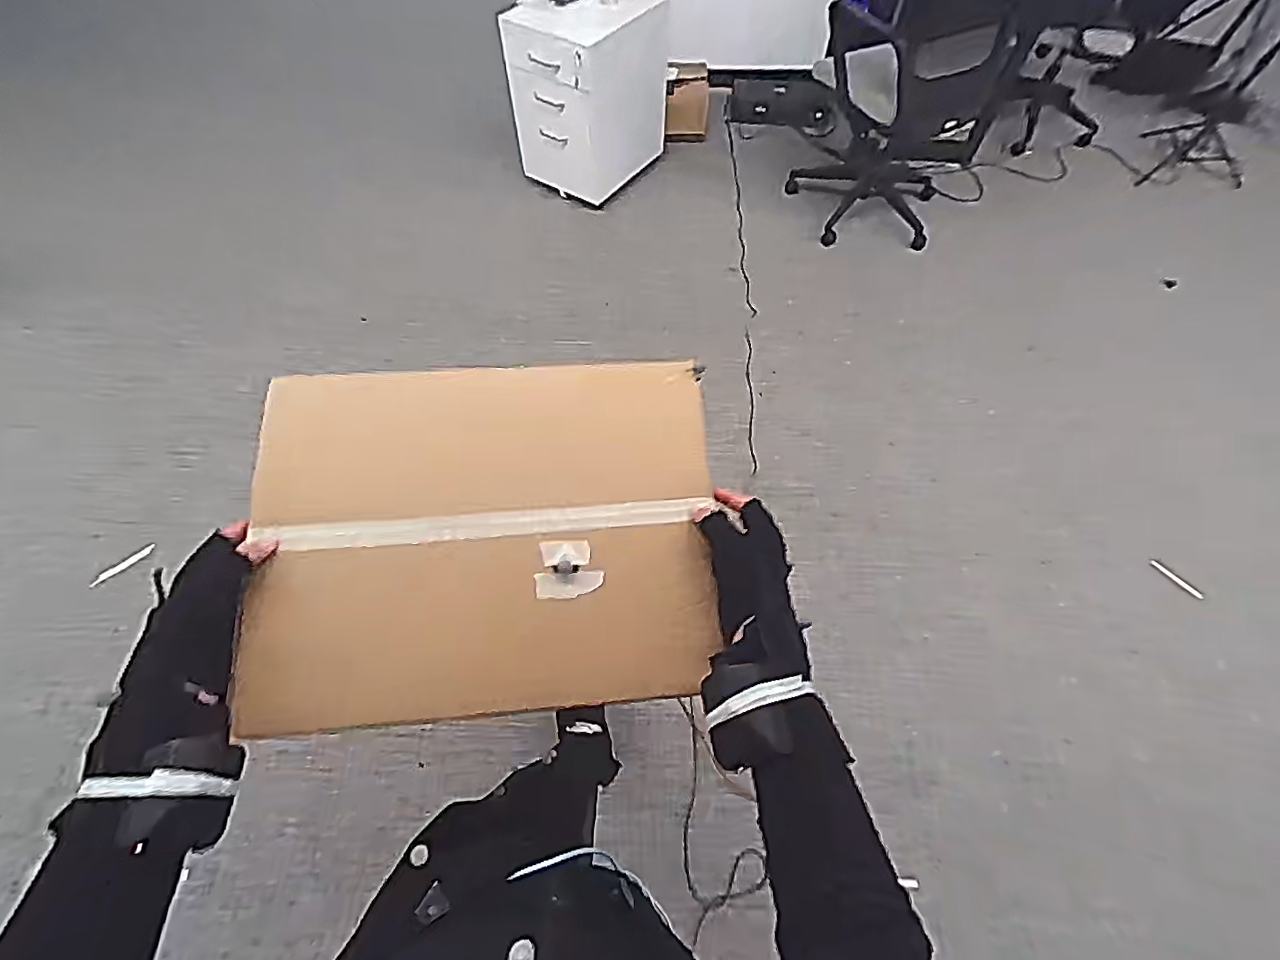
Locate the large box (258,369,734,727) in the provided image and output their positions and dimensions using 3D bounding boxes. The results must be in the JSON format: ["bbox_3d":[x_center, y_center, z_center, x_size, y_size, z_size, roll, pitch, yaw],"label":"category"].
[{"bbox_3d":[-0.138,0.087,0.639,0.408,0.320,0.320,-3,73,-5],"label":"large box"}]
